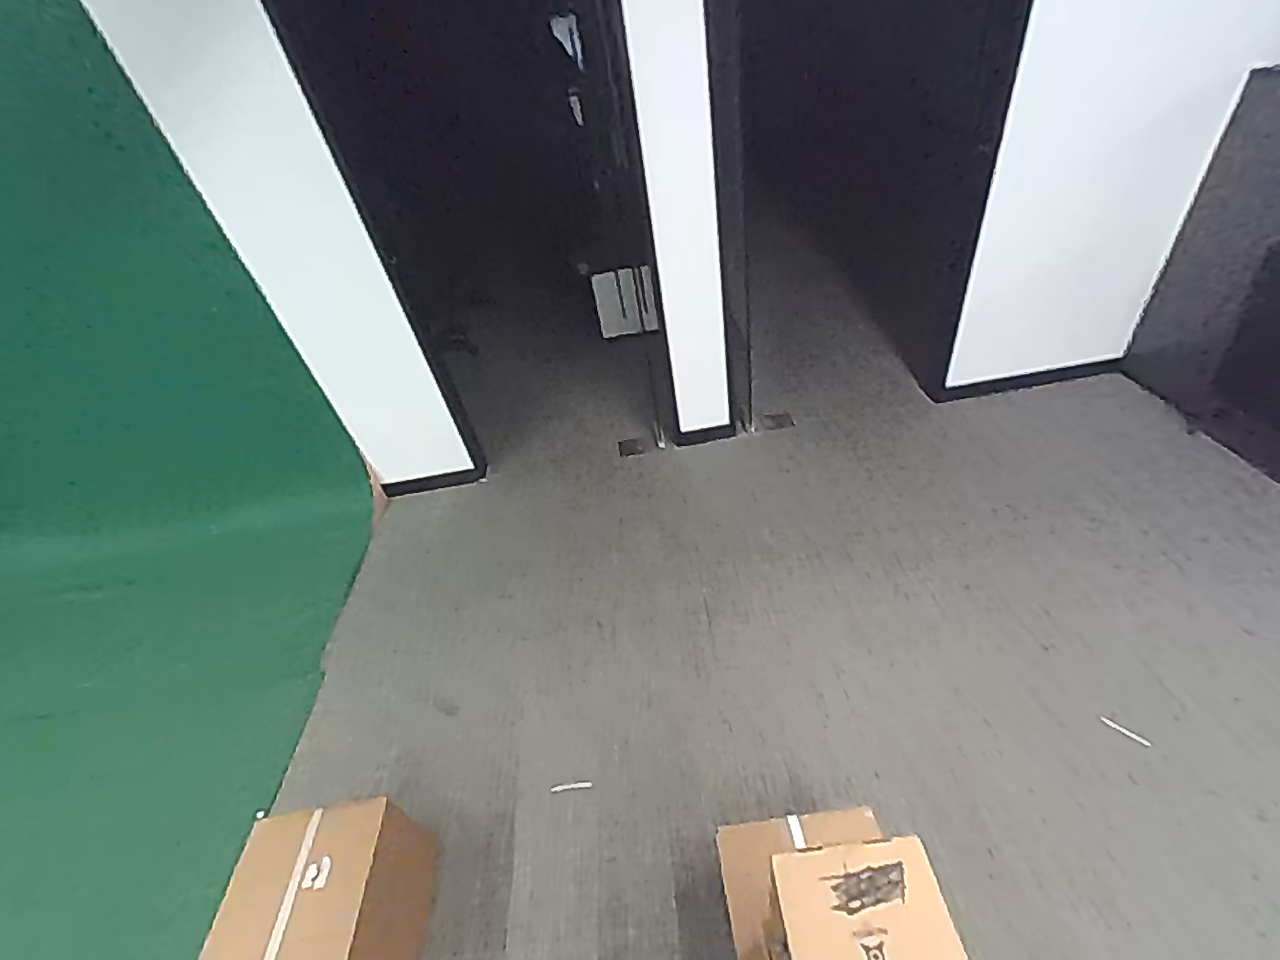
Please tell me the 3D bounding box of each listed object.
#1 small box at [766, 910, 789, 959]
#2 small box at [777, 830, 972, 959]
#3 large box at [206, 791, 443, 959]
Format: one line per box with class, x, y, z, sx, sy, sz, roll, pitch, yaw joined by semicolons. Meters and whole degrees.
small box;0.296;0.753;0.812;0.179;0.176;0.168;-12;40;1
small box;0.248;0.514;0.589;0.168;0.176;0.179;-10;42;4
large box;-0.665;0.971;1.169;0.320;0.320;0.408;-11;39;2
